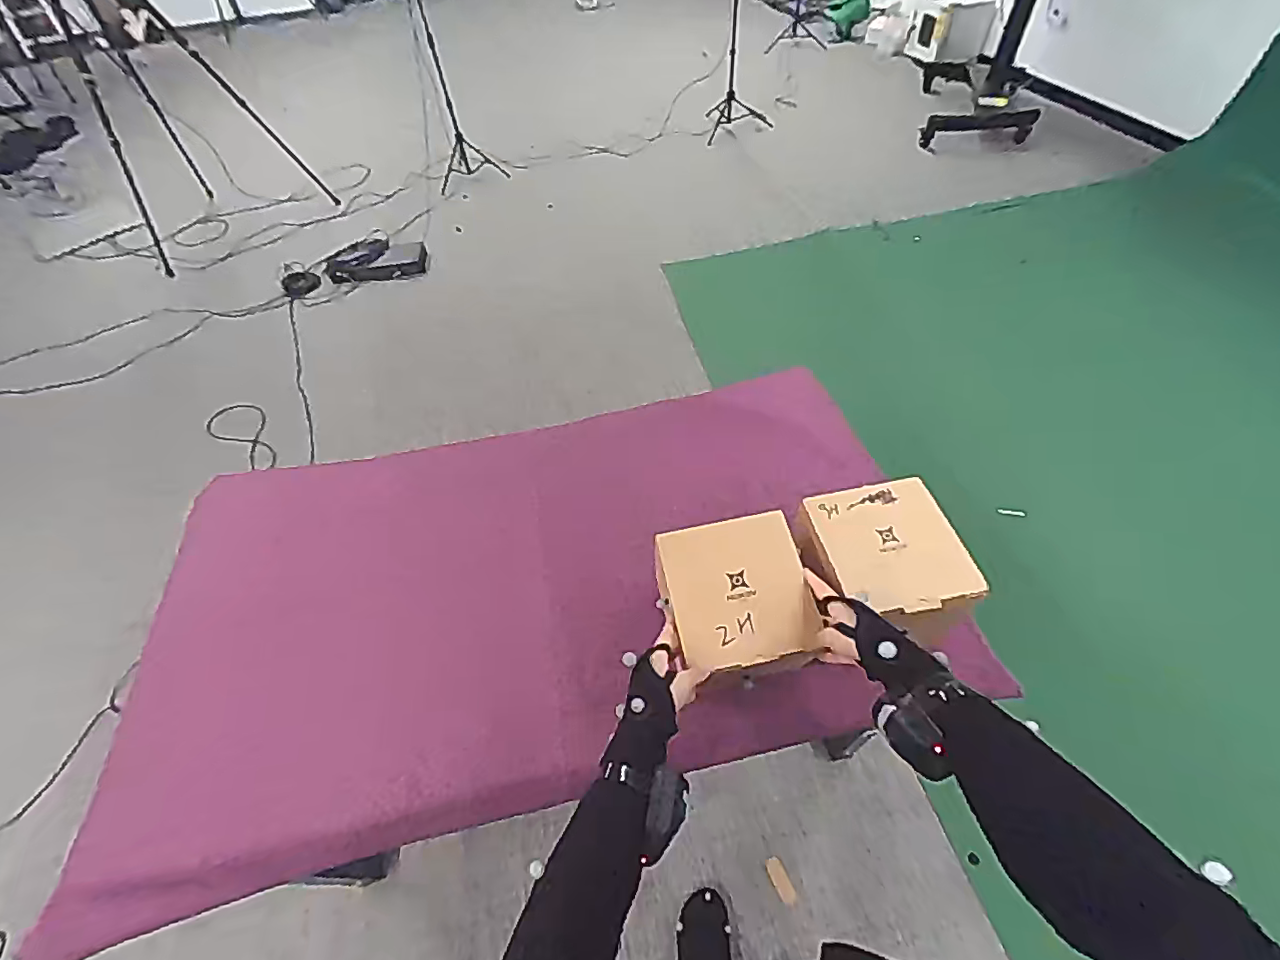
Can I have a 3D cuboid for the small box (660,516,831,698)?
[{"bbox_3d":[0.121,0.170,0.706,0.168,0.176,0.179,-11,62,-3],"label":"small box"}]
